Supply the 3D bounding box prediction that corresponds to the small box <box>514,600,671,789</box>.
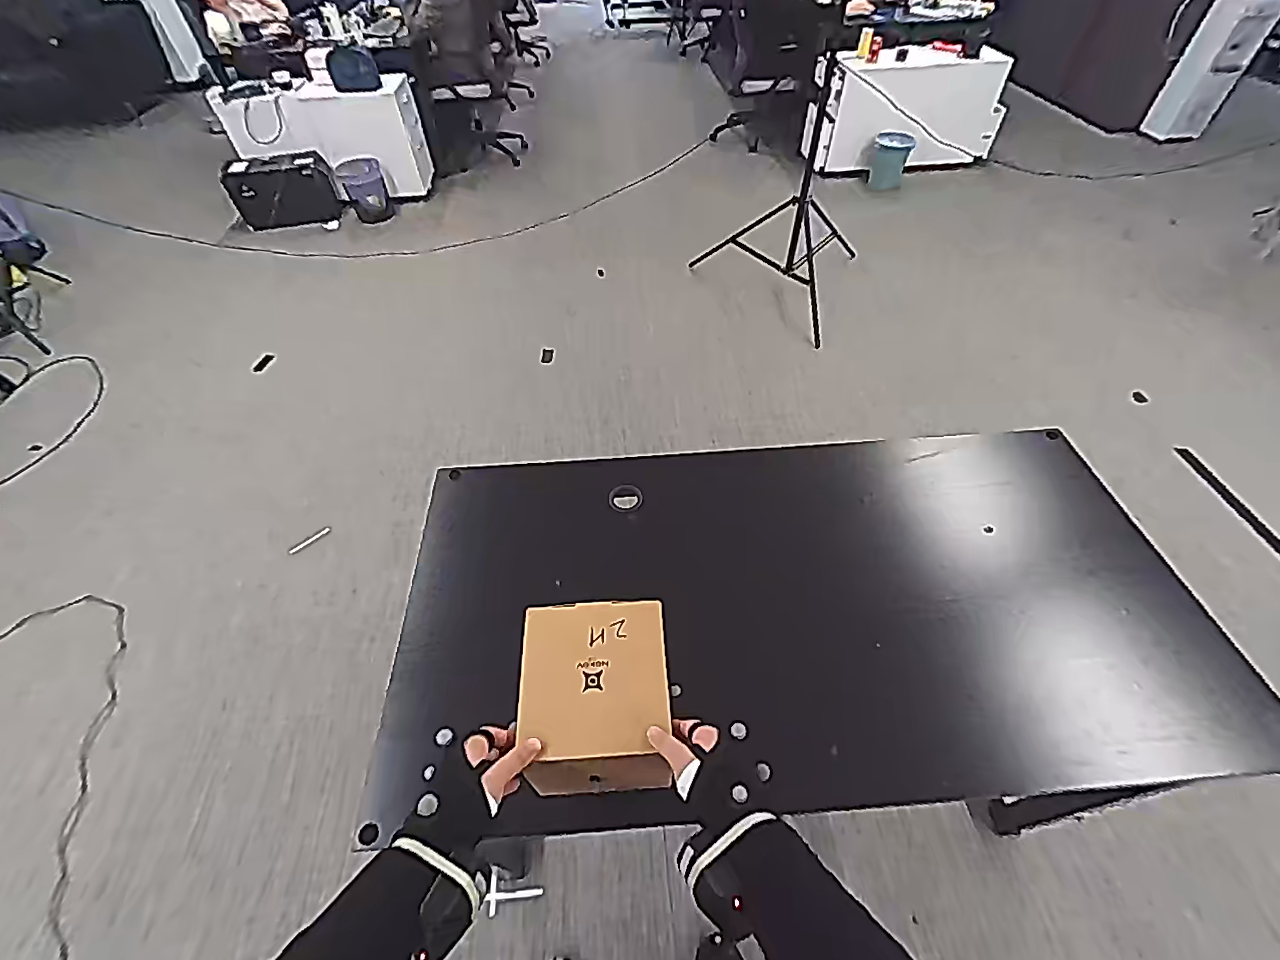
[{"bbox_3d":[-0.050,0.270,0.669,0.168,0.176,0.179,-4,49,-1],"label":"small box"}]
